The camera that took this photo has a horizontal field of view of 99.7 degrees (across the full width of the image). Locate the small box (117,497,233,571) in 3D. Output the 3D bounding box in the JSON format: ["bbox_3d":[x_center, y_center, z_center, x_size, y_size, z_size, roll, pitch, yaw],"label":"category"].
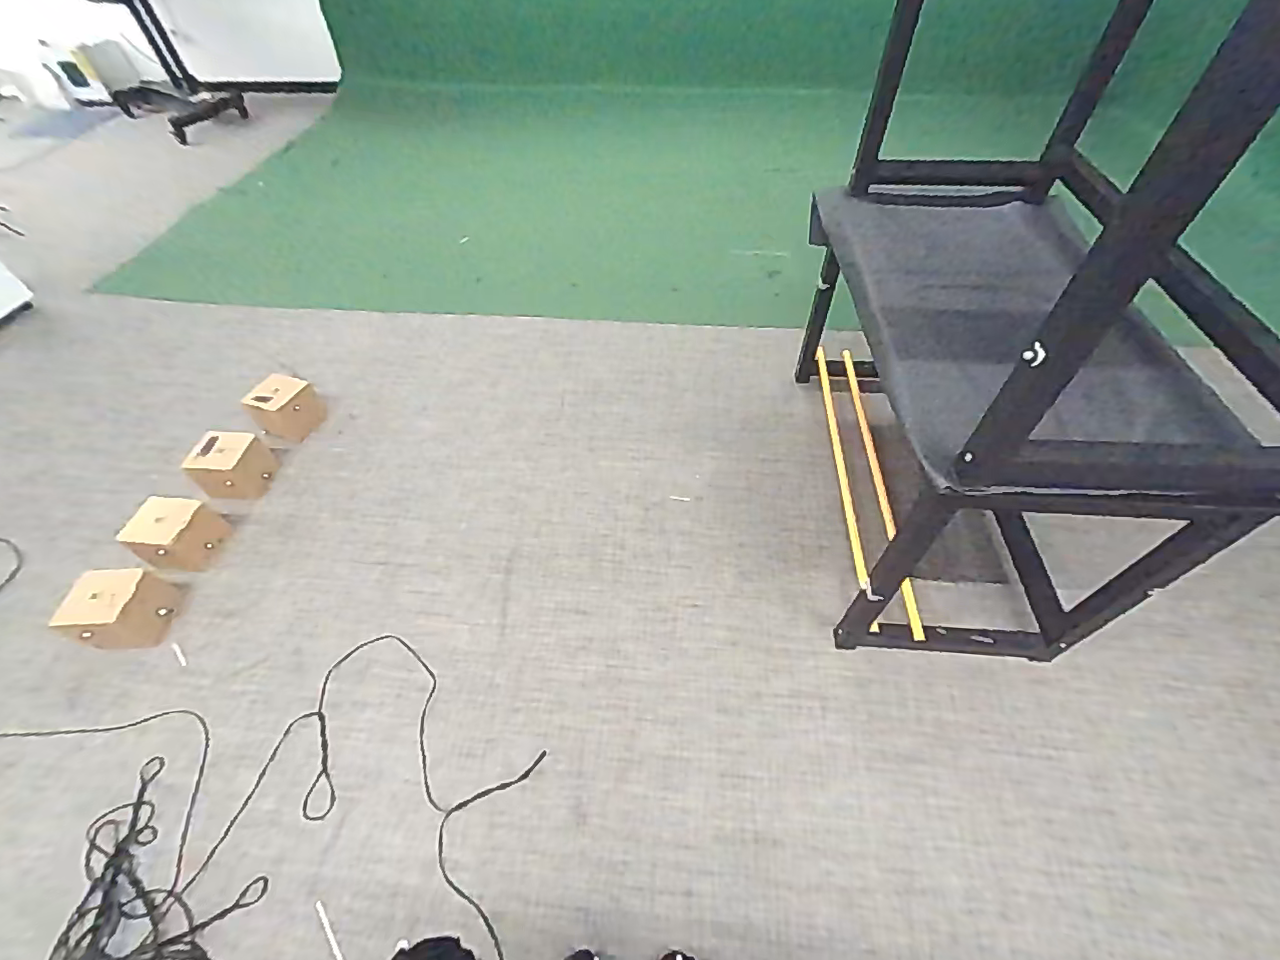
[{"bbox_3d":[-1.438,0.172,1.686,0.179,0.176,0.168,4,51,4],"label":"small box"}]

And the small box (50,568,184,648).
[{"bbox_3d":[-1.464,0.365,1.527,0.179,0.176,0.168,-3,52,-1],"label":"small box"}]

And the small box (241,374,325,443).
[{"bbox_3d":[-1.334,-0.266,2.037,0.168,0.176,0.179,15,52,12],"label":"small box"}]
